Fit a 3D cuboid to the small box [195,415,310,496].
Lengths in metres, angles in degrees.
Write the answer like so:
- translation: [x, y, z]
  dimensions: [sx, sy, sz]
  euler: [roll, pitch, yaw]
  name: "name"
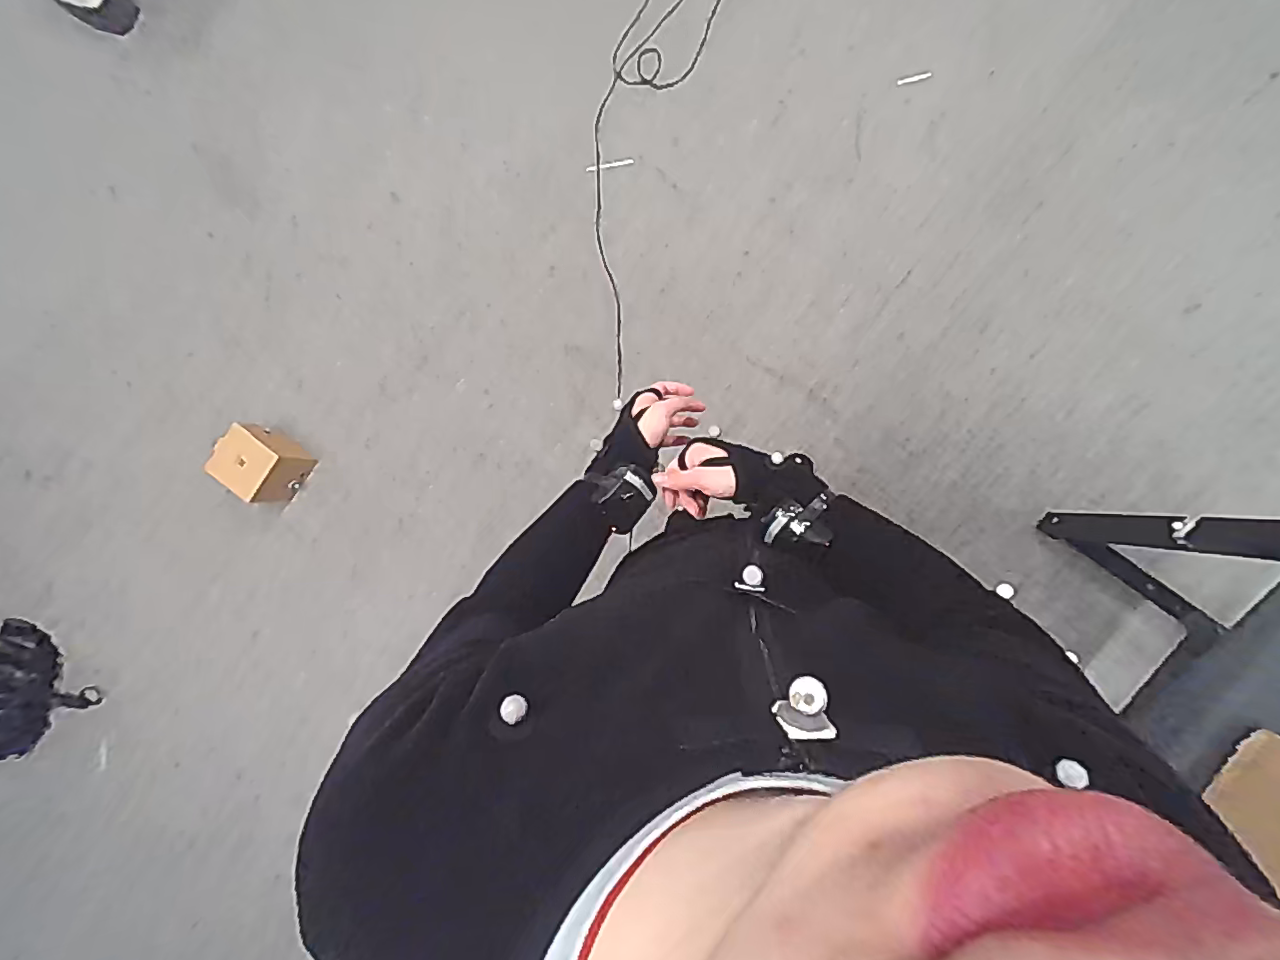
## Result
- translation: [-1.132, -0.068, 1.592]
  dimensions: [0.179, 0.176, 0.168]
  euler: [36, 93, 3]
  name: "small box"
